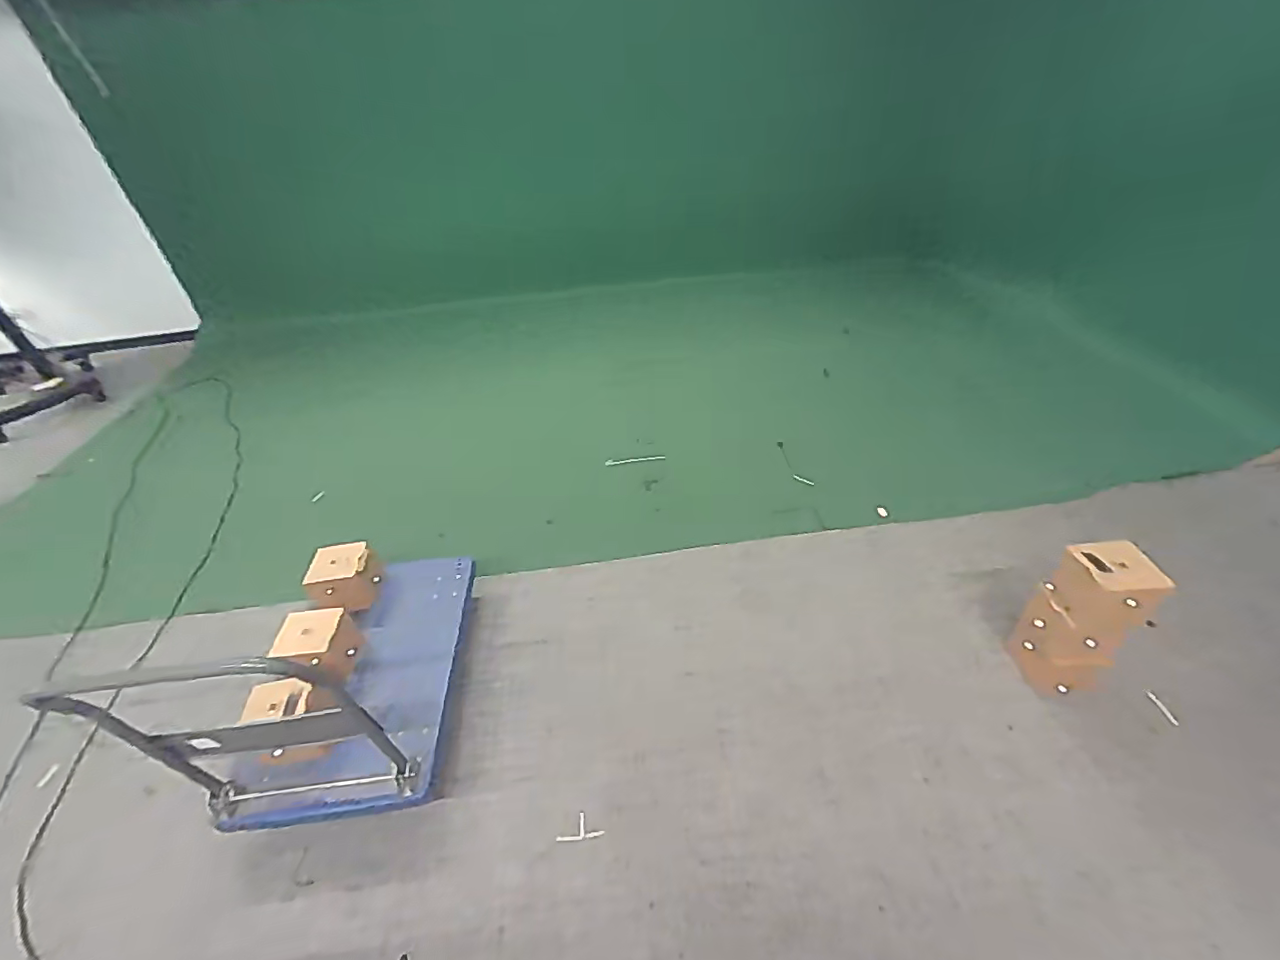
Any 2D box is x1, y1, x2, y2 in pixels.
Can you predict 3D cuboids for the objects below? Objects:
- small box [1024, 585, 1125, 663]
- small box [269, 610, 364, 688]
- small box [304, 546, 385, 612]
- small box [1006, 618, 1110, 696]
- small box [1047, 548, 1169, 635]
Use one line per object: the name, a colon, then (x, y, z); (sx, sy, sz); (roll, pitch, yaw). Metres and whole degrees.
small box: (1.270, 0.420, 1.587); (0.179, 0.176, 0.168); (-5, 39, 3)
small box: (-1.010, 0.536, 1.704); (0.179, 0.176, 0.168); (-6, 39, -2)
small box: (-1.041, 0.358, 1.919); (0.179, 0.176, 0.168); (-7, 40, -2)
small box: (1.289, 0.549, 1.686); (0.168, 0.176, 0.179); (-4, 39, 3)
small box: (1.266, 0.311, 1.487); (0.179, 0.176, 0.168); (-5, 39, 2)
